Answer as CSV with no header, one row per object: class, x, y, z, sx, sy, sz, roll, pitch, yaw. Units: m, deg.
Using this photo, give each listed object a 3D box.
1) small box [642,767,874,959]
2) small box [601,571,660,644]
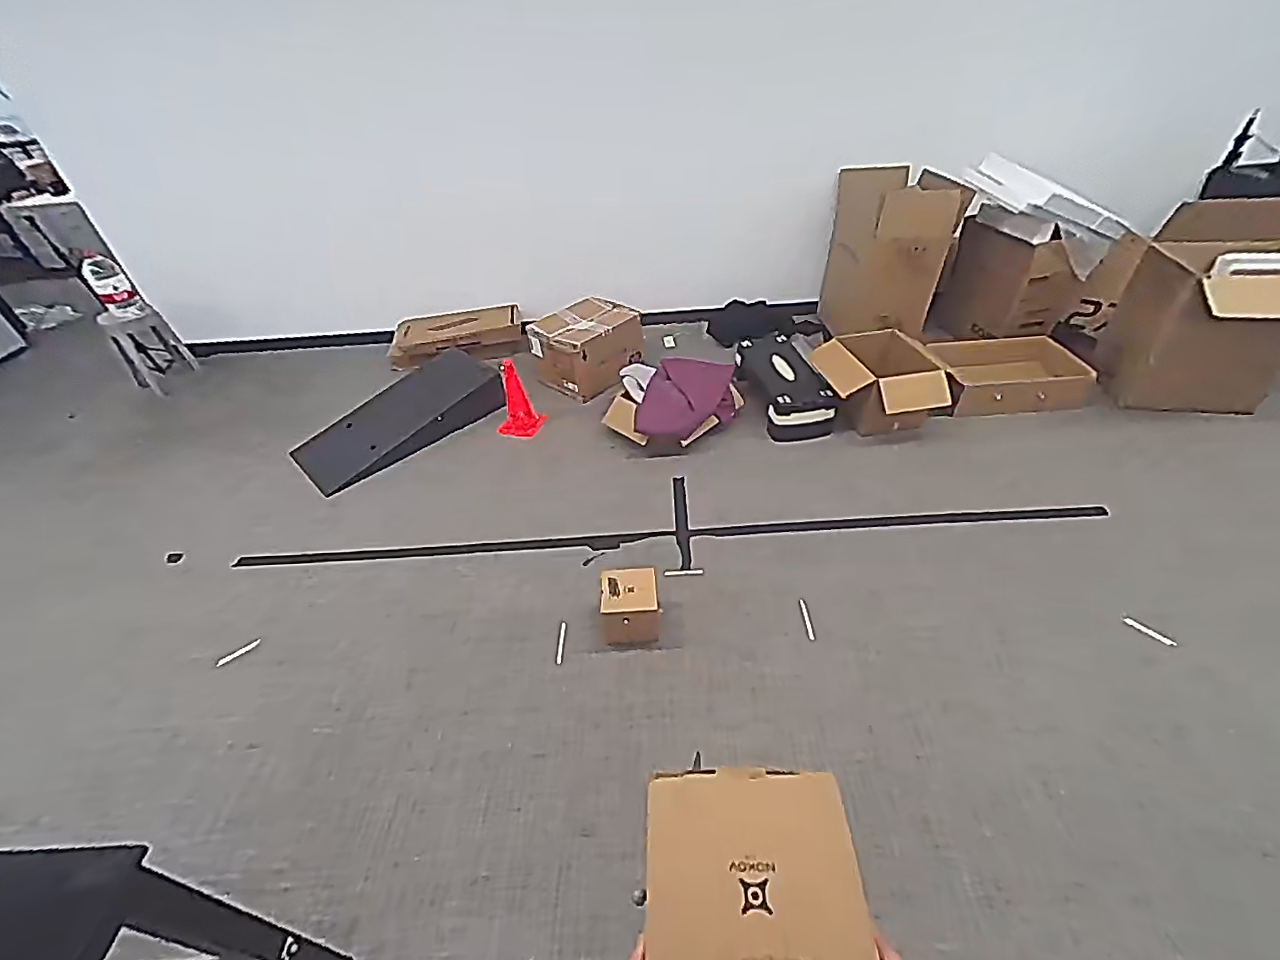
small box,0.088,0.375,0.464,0.168,0.176,0.179,-1,38,3
small box,-0.029,0.414,1.744,0.179,0.176,0.168,-4,40,1
